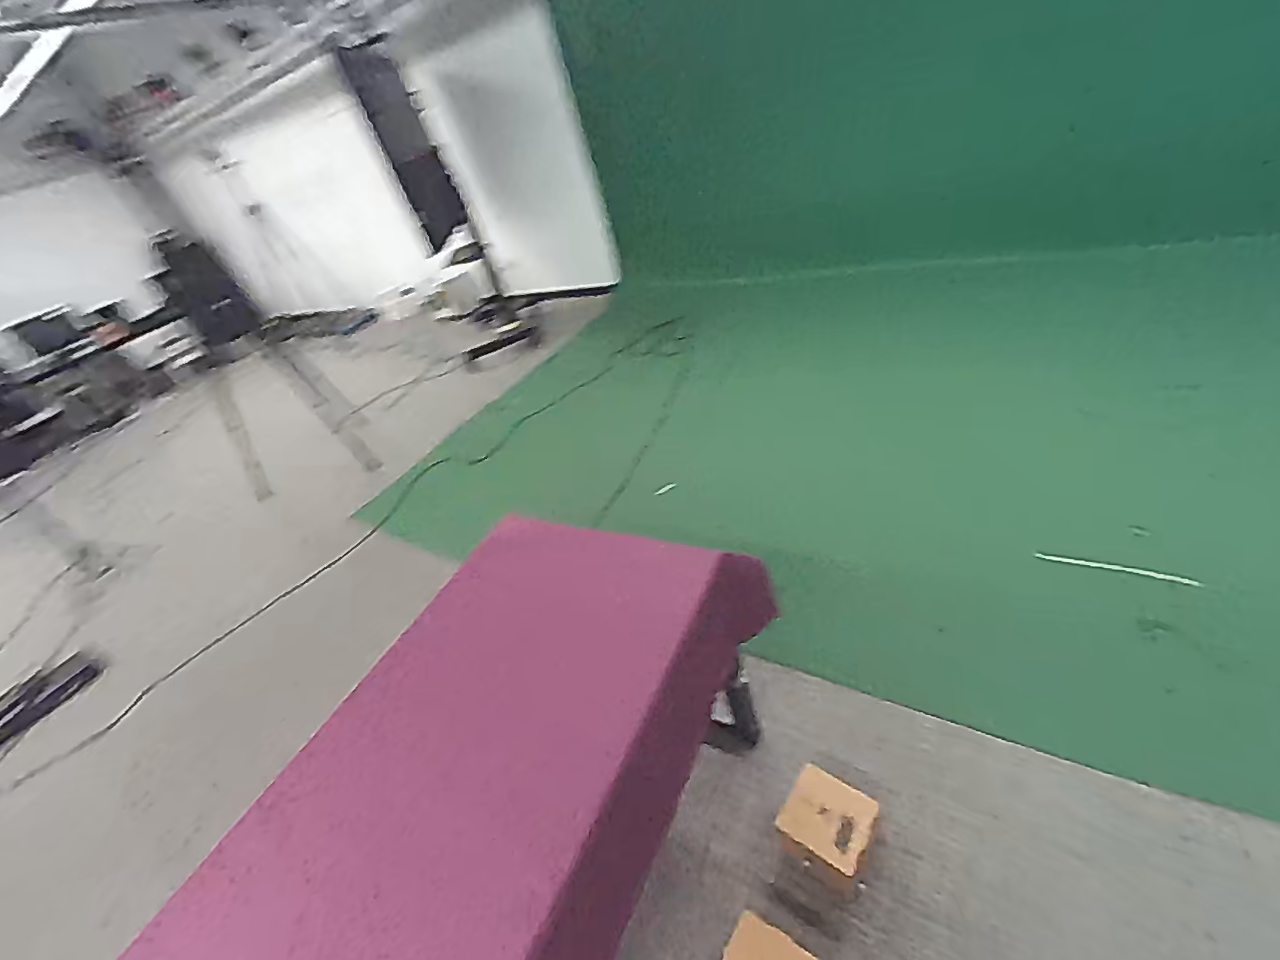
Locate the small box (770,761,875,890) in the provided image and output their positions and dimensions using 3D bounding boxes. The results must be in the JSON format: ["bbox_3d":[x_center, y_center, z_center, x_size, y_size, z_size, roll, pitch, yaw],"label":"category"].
[{"bbox_3d":[0.425,0.797,1.243,0.179,0.176,0.168,15,48,39],"label":"small box"}]
